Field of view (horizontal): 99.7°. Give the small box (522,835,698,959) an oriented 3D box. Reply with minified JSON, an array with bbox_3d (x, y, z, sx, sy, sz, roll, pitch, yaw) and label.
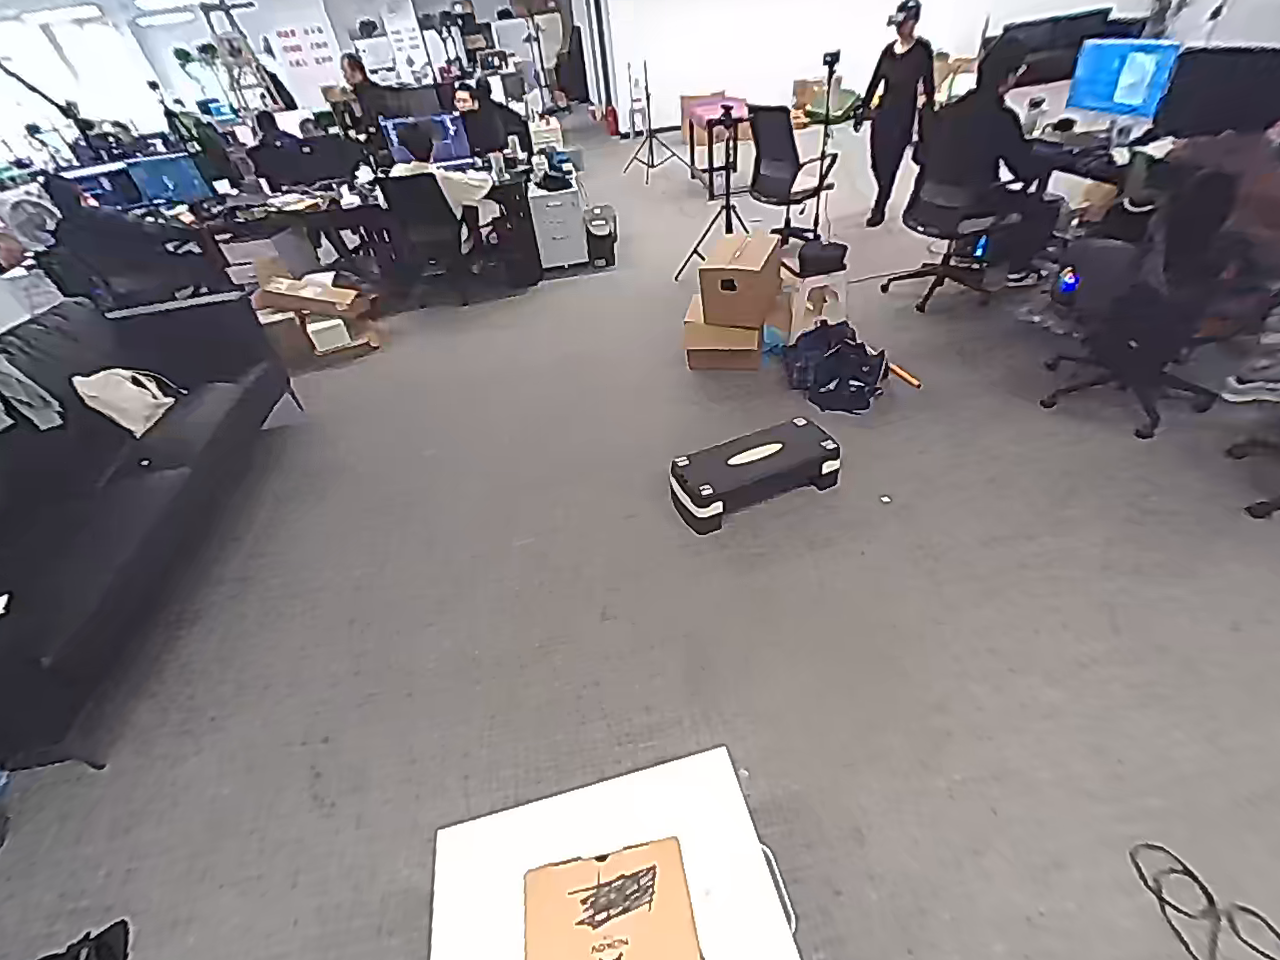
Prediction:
[{"bbox_3d":[-0.024,0.508,0.557,0.168,0.176,0.179,-10,39,-4],"label":"small box"}]
